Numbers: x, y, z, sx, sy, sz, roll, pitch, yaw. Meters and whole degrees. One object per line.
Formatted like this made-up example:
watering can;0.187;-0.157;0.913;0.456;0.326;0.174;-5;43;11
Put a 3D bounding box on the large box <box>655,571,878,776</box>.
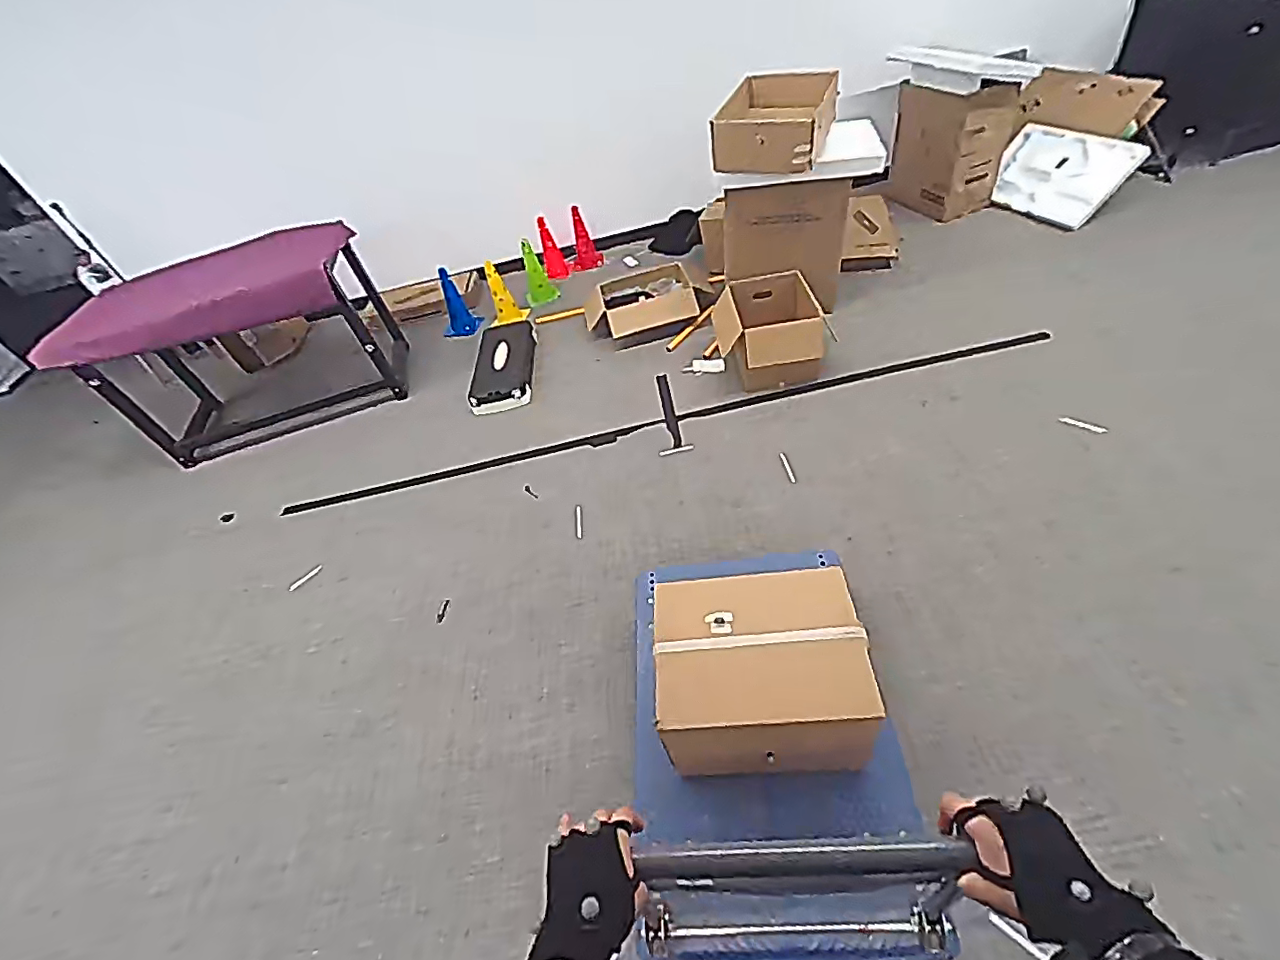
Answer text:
large box;0.259;0.434;1.192;0.408;0.320;0.320;-8;45;8
